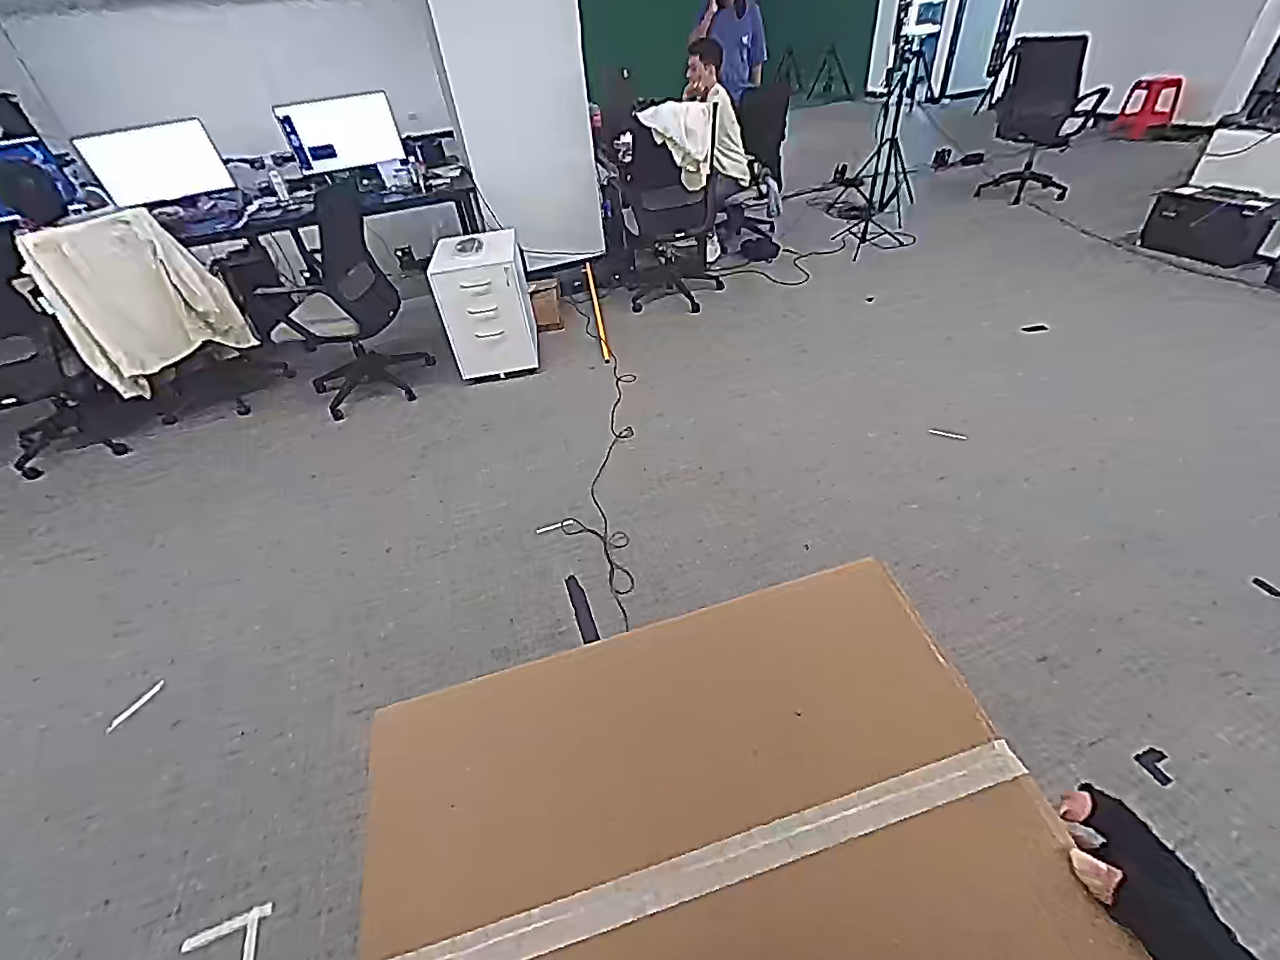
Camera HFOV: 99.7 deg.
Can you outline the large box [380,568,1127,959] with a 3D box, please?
[{"bbox_3d":[0.058,0.329,0.442,0.408,0.320,0.320,-16,49,-5],"label":"large box"}]
